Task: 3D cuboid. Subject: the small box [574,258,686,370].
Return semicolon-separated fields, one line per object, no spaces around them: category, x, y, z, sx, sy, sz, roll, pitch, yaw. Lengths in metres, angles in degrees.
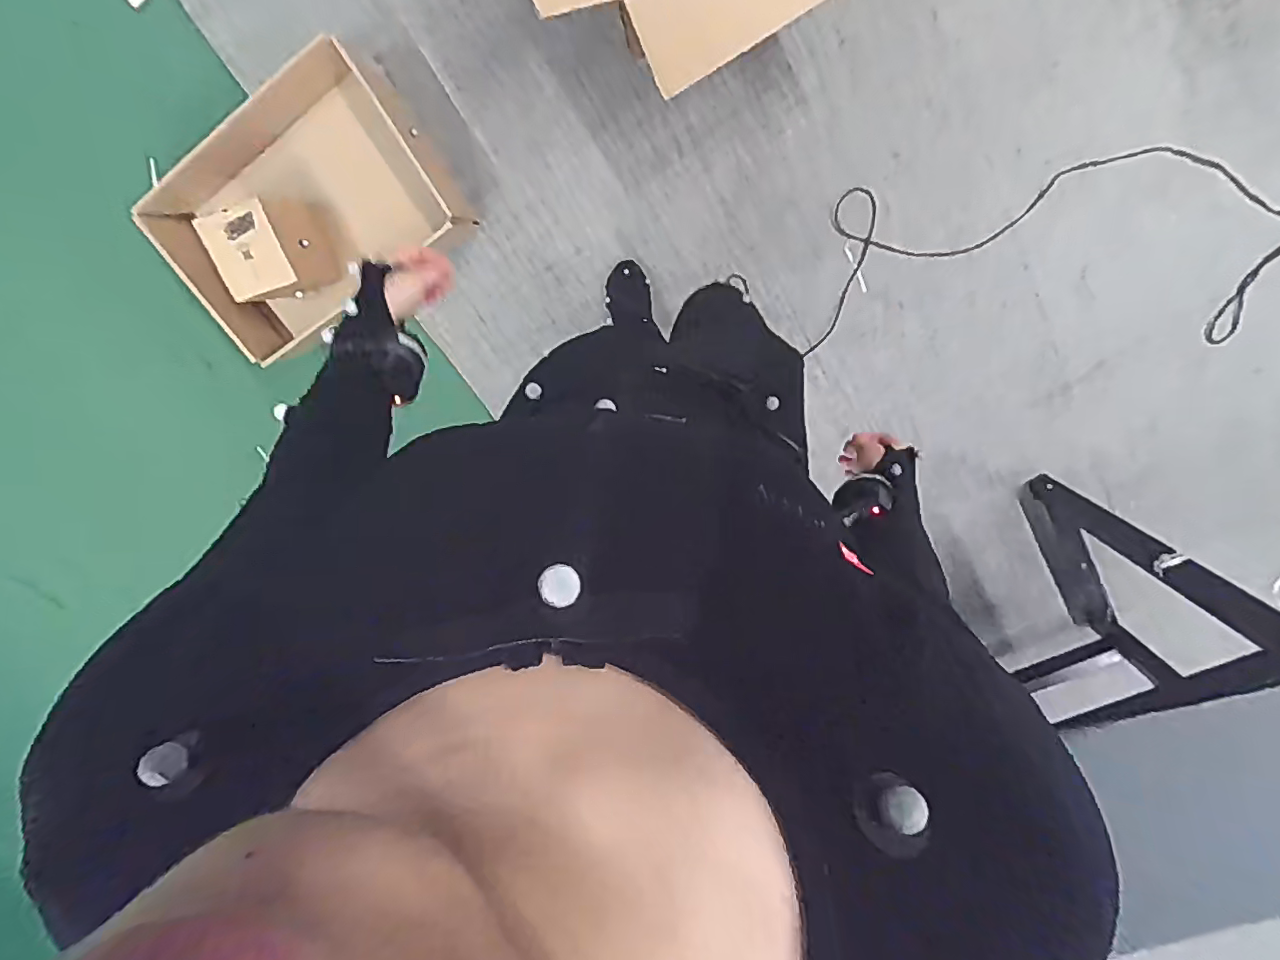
small box;-0.015;-0.391;1.274;0.176;0.168;0.179;37;88;-42

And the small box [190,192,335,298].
small box;-0.843;-0.526;1.227;0.168;0.176;0.179;-14;111;8
